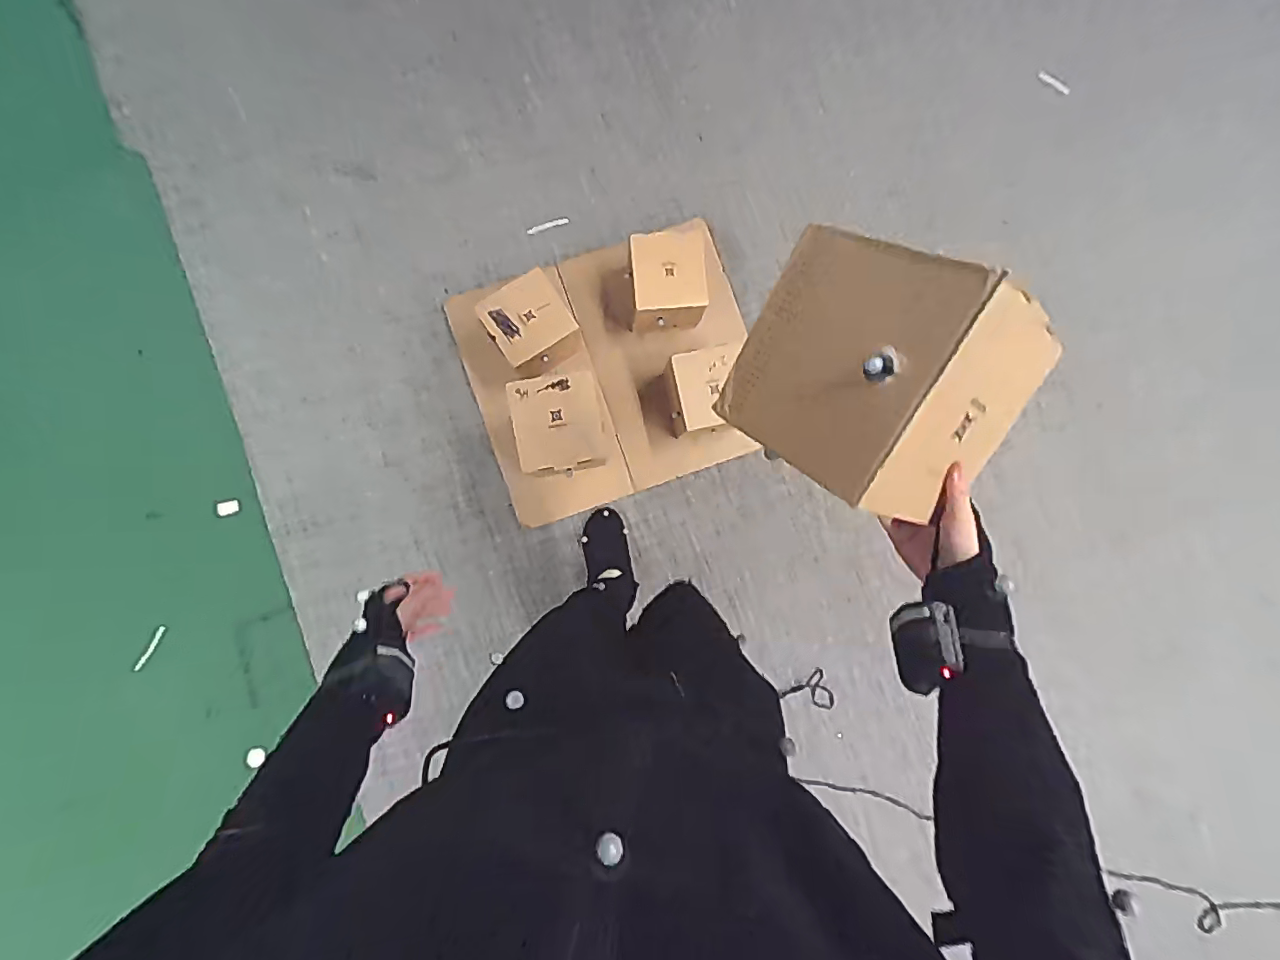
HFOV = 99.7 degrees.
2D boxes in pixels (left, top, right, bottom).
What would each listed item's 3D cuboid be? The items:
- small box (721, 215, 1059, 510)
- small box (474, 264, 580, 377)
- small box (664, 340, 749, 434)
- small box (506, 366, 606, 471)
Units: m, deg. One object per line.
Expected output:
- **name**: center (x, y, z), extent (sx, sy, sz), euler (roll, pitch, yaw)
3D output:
- **small box**: center (0.200, -0.098, 0.461), extent (0.168, 0.176, 0.179), euler (12, 113, -42)
- **small box**: center (-0.253, -0.358, 1.261), extent (0.179, 0.176, 0.168), euler (-33, 90, -5)
- **small box**: center (0.159, -0.210, 1.272), extent (0.168, 0.176, 0.179), euler (-12, 88, -4)
- **small box**: center (-0.161, -0.115, 1.091), extent (0.168, 0.176, 0.179), euler (-10, 89, -5)
